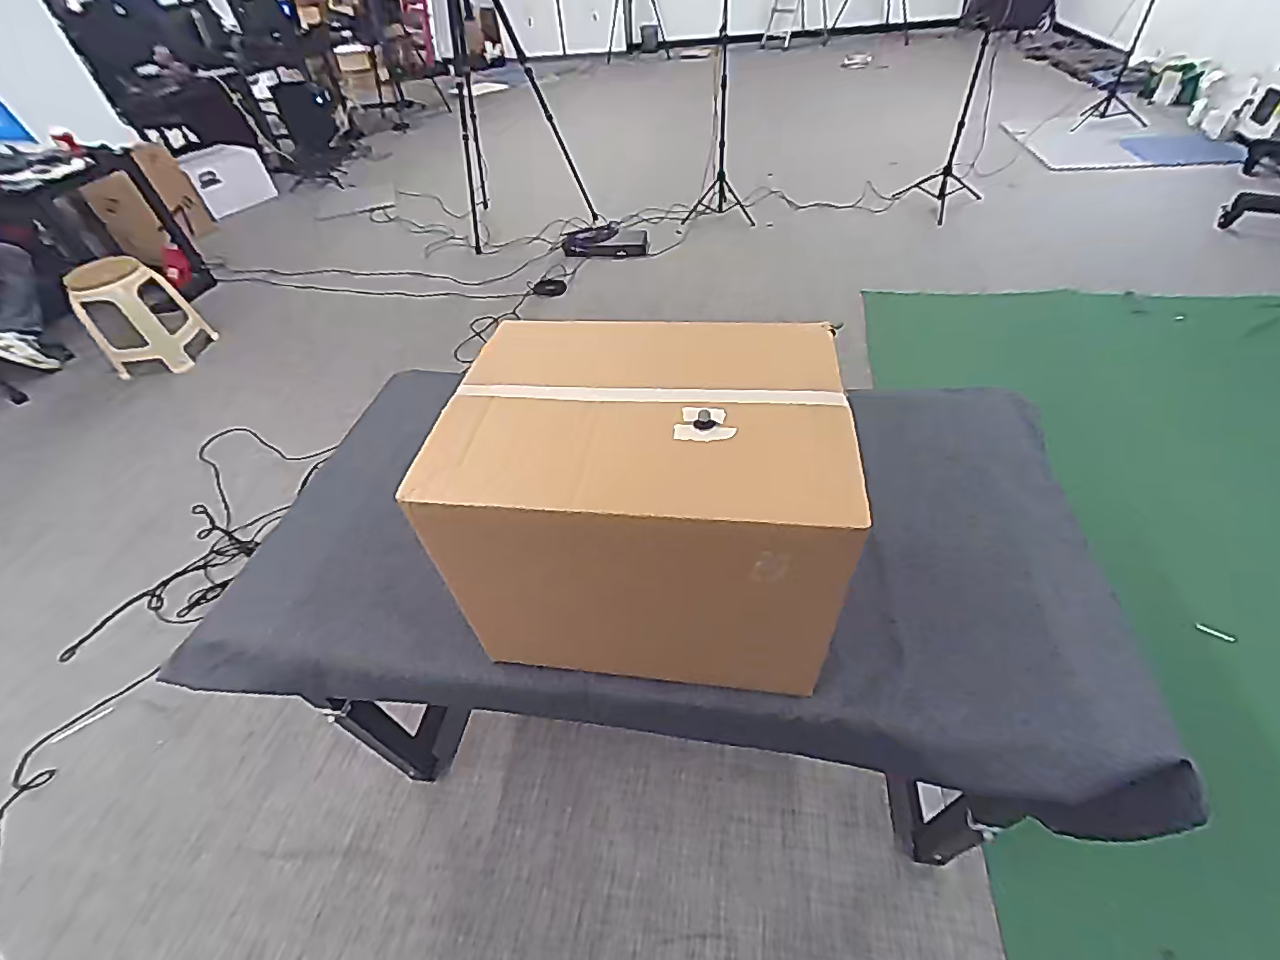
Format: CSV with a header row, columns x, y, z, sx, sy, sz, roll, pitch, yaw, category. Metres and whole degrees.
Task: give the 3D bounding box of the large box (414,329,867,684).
x,y,z,sx,sy,sz,roll,pitch,yaw,category
0.016,0.026,0.670,0.408,0.320,0.320,3,46,8,large box
